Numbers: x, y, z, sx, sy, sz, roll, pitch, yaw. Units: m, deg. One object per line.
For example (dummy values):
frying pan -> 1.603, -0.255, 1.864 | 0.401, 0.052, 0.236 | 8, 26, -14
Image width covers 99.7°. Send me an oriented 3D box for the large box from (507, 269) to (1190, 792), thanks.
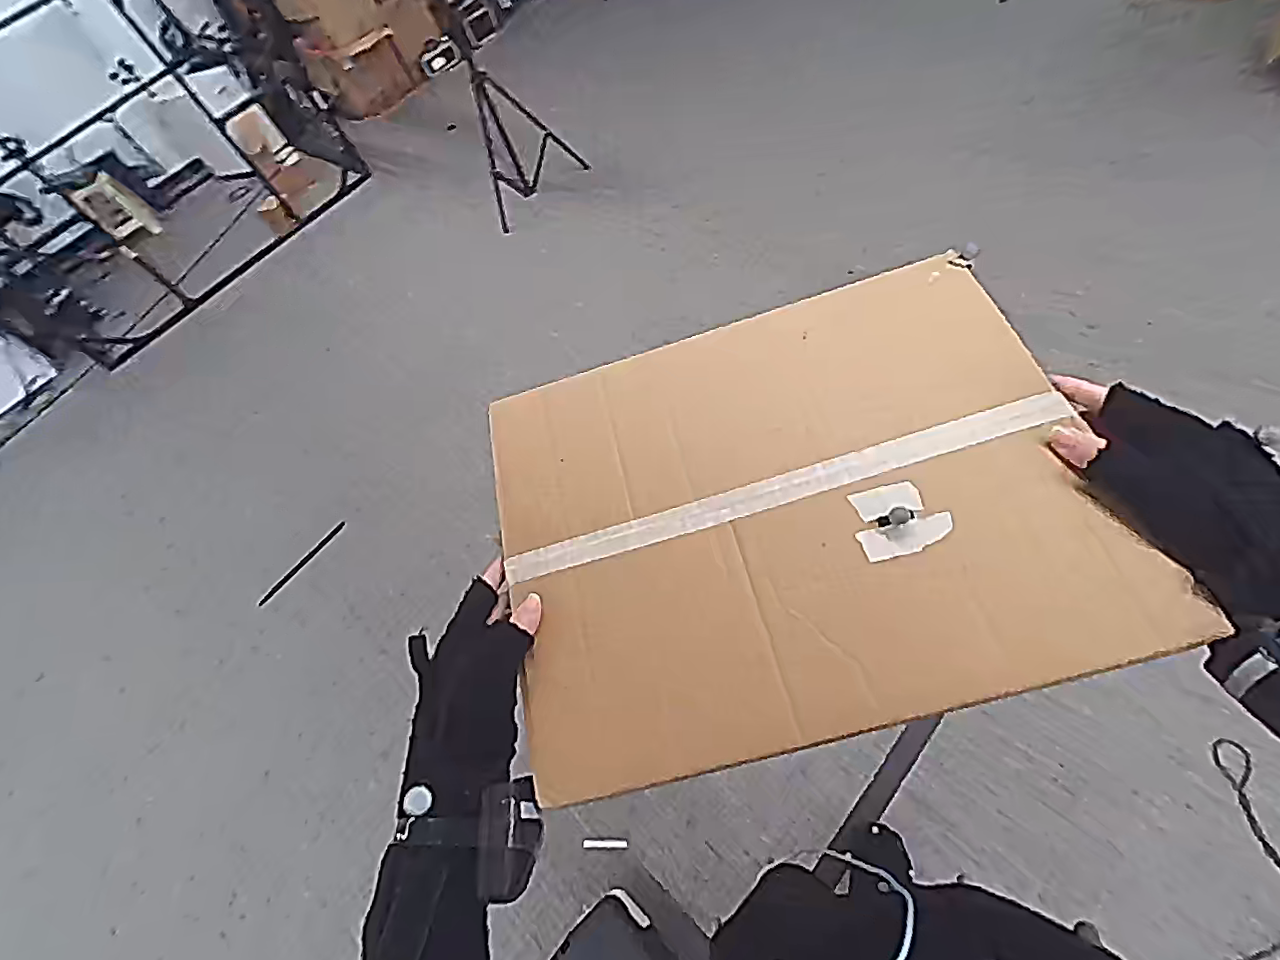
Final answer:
large box -> 0.131, 0.074, 0.530 | 0.408, 0.320, 0.320 | -17, 63, 5
